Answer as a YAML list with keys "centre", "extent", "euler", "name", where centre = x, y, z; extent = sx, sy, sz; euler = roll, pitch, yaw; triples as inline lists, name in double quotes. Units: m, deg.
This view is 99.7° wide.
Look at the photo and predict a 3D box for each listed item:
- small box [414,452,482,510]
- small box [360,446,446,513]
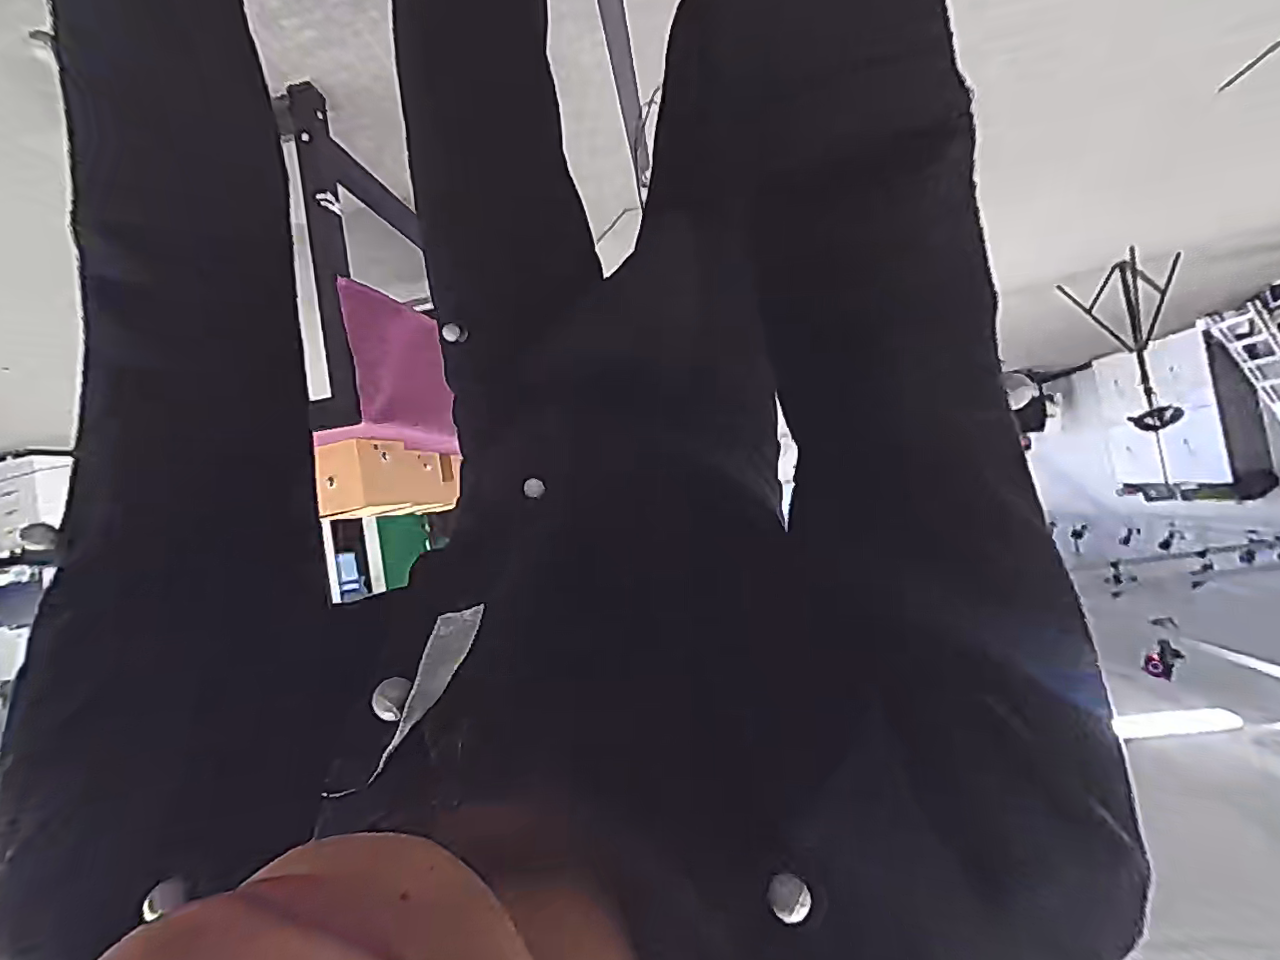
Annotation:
- centre: [-0.675, 0.002, 1.867]
  extent: [0.179, 0.176, 0.168]
  euler: [-10, 178, 9]
  name: "small box"
- centre: [-0.715, 0.001, 1.628]
  extent: [0.179, 0.176, 0.168]
  euler: [-11, 178, 13]
  name: "small box"
